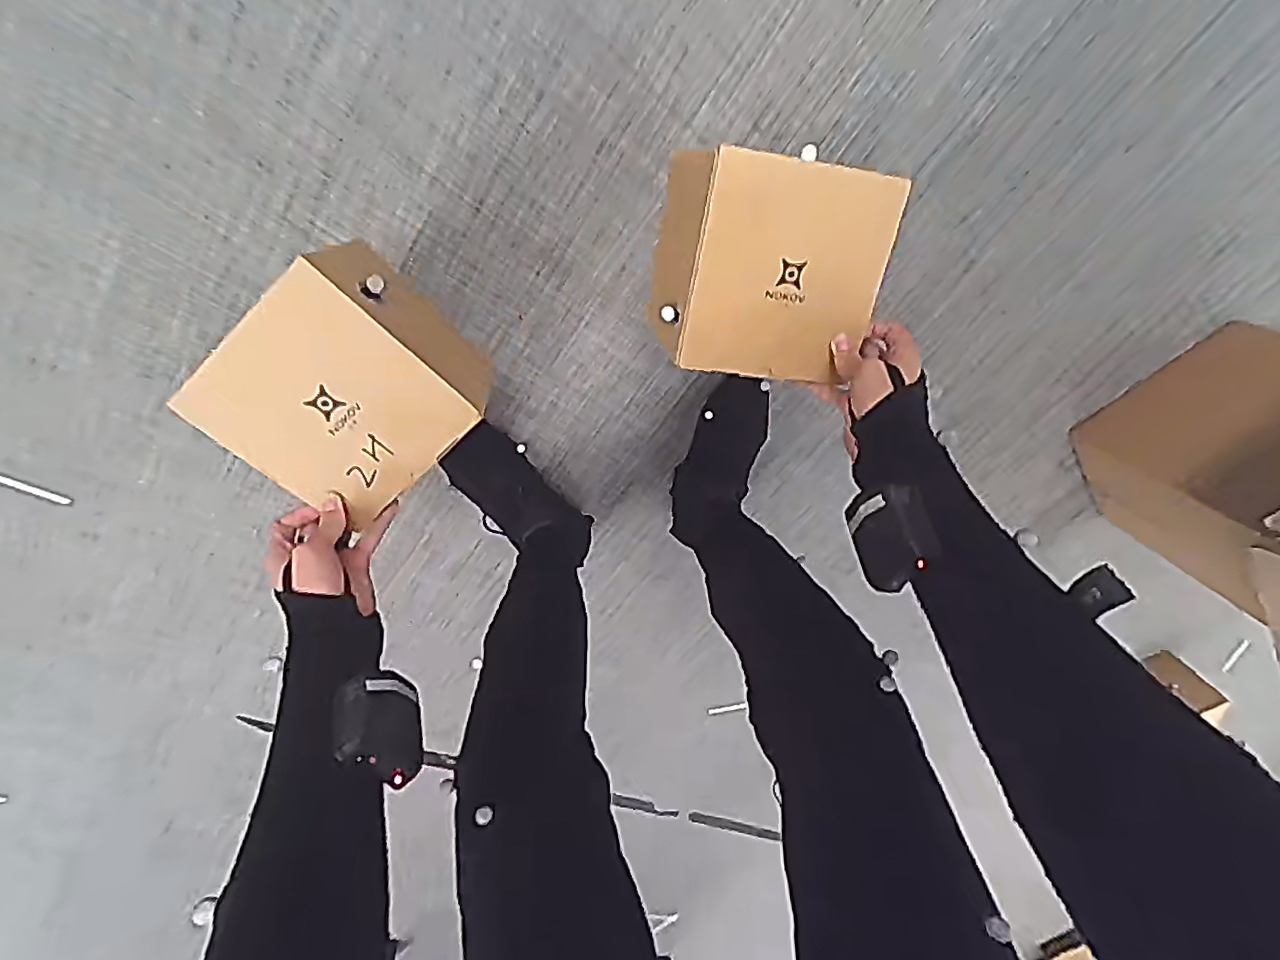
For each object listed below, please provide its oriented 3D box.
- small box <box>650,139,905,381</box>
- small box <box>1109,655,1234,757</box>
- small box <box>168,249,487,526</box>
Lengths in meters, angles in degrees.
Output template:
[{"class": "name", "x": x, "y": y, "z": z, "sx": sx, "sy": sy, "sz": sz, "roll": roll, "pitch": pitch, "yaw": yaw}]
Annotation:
[{"class": "small box", "x": 0.111, "y": -0.213, "z": 0.526, "sx": 0.168, "sy": 0.176, "sz": 0.179, "roll": 3, "pitch": 119, "yaw": -12}, {"class": "small box", "x": 1.458, "y": 0.623, "z": 1.500, "sx": 0.179, "sy": 0.176, "sz": 0.168, "roll": -23, "pitch": 123, "yaw": 4}, {"class": "small box", "x": -0.268, "y": -0.096, "z": 0.513, "sx": 0.168, "sy": 0.176, "sz": 0.179, "roll": -40, "pitch": 118, "yaw": 10}]
